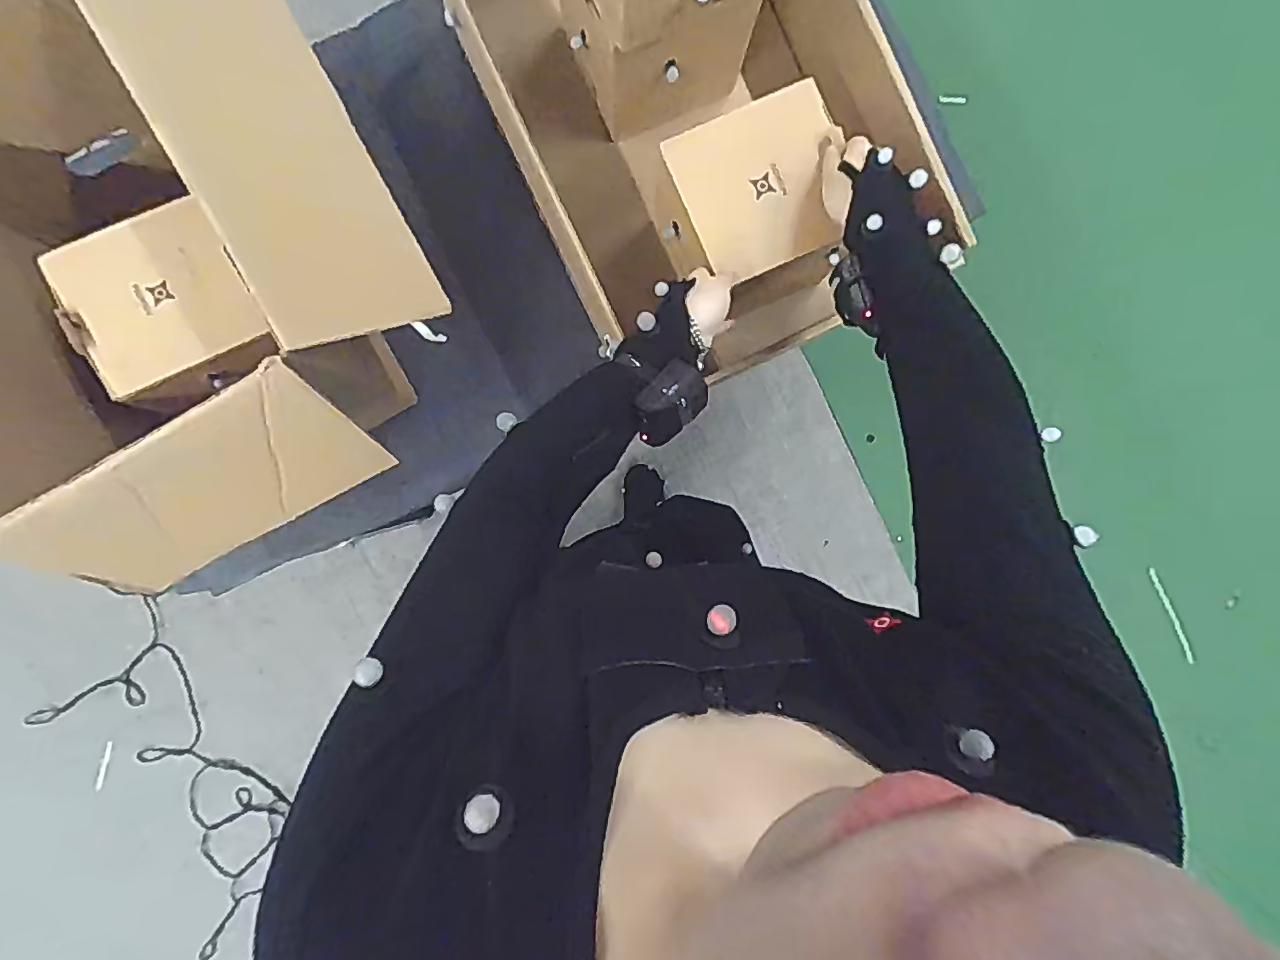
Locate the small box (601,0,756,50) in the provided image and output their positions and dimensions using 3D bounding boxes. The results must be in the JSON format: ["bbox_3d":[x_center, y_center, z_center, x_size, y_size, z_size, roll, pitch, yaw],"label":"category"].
[{"bbox_3d":[0.026,-0.533,0.460,0.168,0.176,0.179,-25,94,-1],"label":"small box"}]
